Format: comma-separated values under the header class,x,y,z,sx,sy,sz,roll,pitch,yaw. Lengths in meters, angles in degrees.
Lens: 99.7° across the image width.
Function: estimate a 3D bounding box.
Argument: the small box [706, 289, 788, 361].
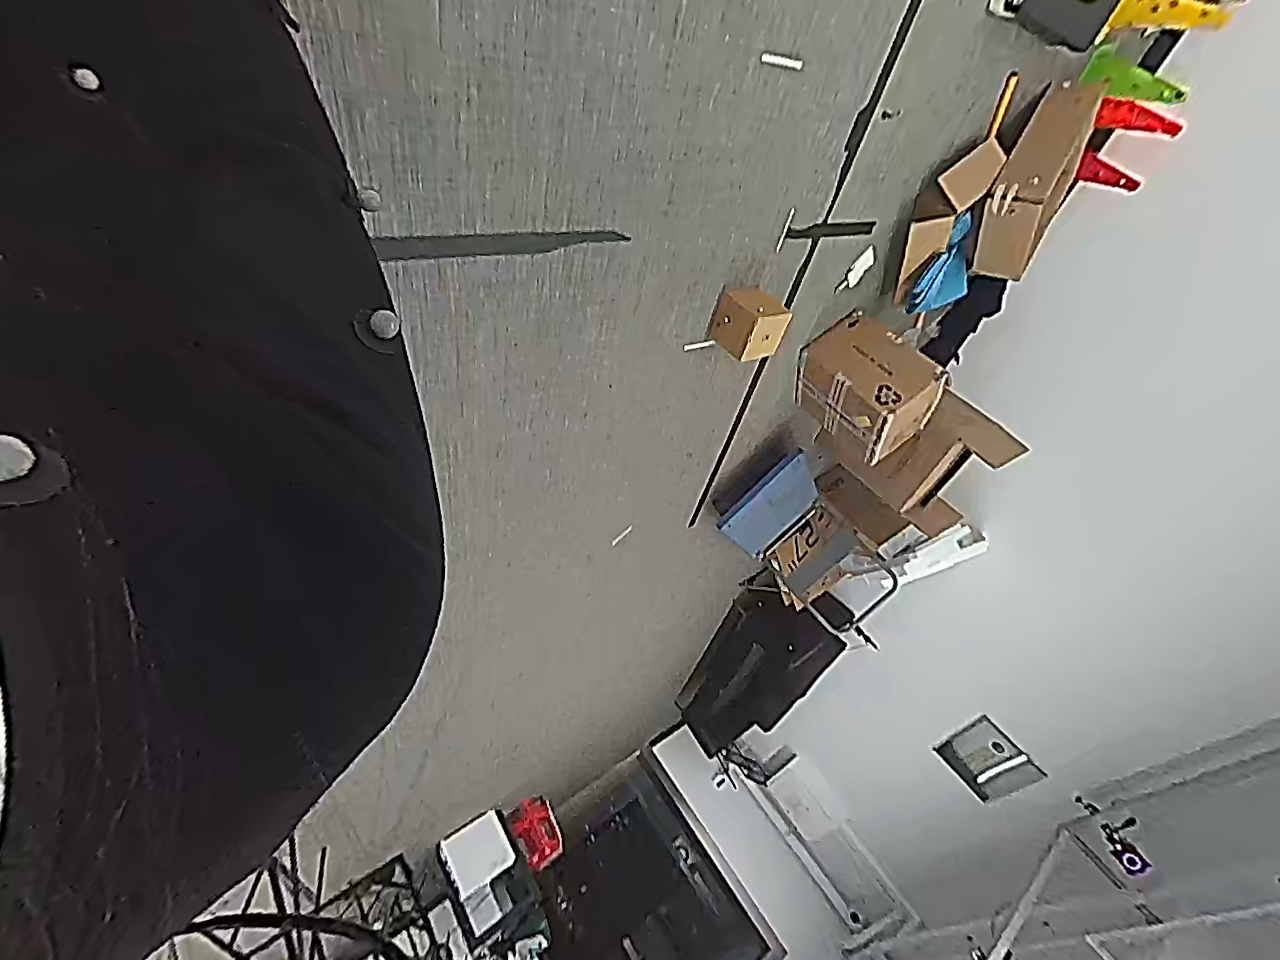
class,x,y,z,sx,sy,sz,roll,pitch,yaw
small box,0.357,-0.530,1.828,0.179,0.176,0.168,-20,145,-34
